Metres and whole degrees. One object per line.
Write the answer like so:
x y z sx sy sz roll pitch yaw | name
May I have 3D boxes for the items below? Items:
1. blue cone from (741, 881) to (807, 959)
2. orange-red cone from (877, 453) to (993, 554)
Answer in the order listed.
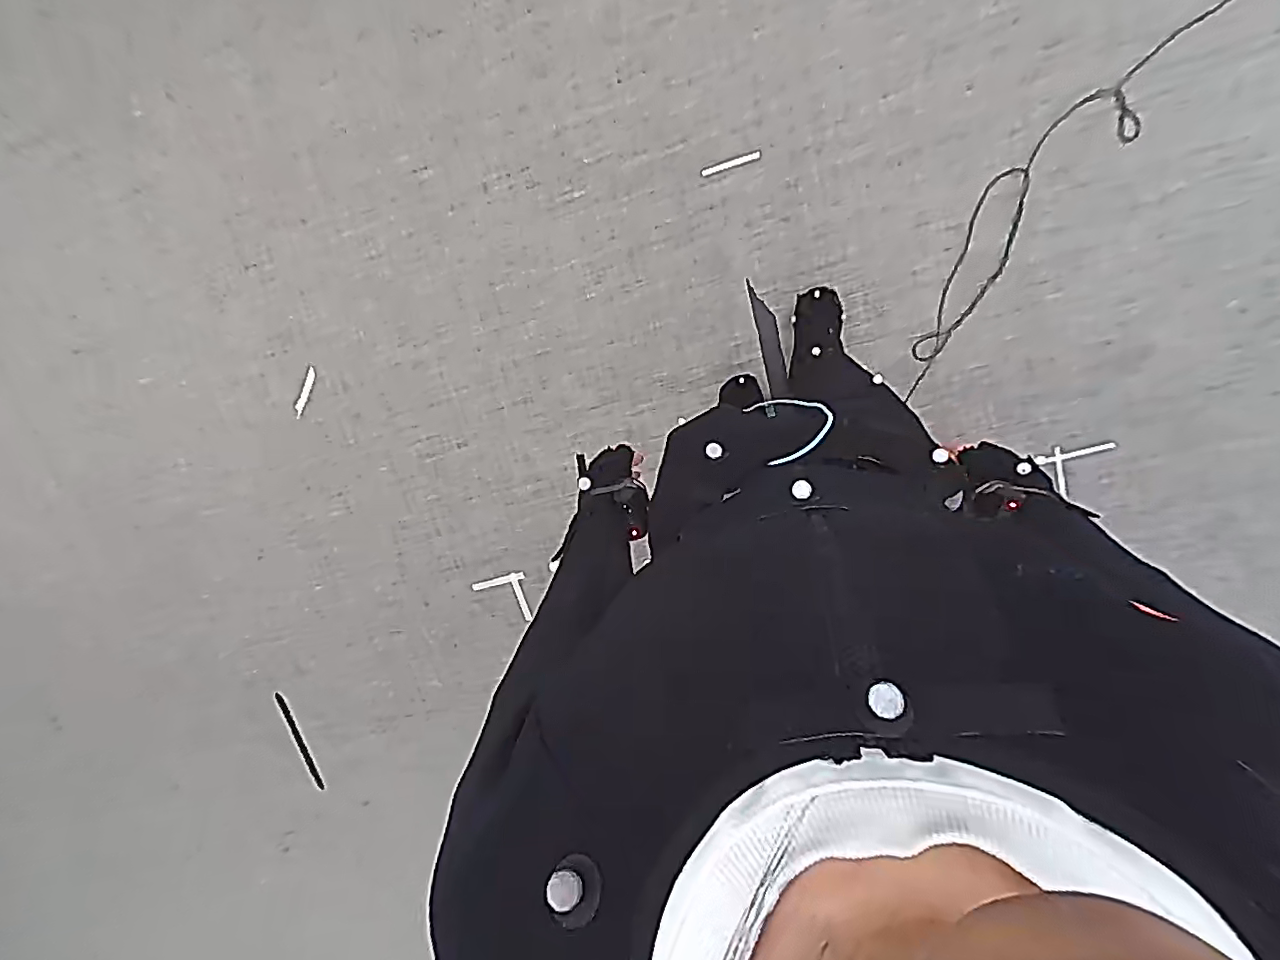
0.401 1.398 1.569 0.192 0.380 0.193 -9 101 12 | blue cone
0.679 0.078 1.195 0.199 0.360 0.198 -9 103 10 | orange-red cone
